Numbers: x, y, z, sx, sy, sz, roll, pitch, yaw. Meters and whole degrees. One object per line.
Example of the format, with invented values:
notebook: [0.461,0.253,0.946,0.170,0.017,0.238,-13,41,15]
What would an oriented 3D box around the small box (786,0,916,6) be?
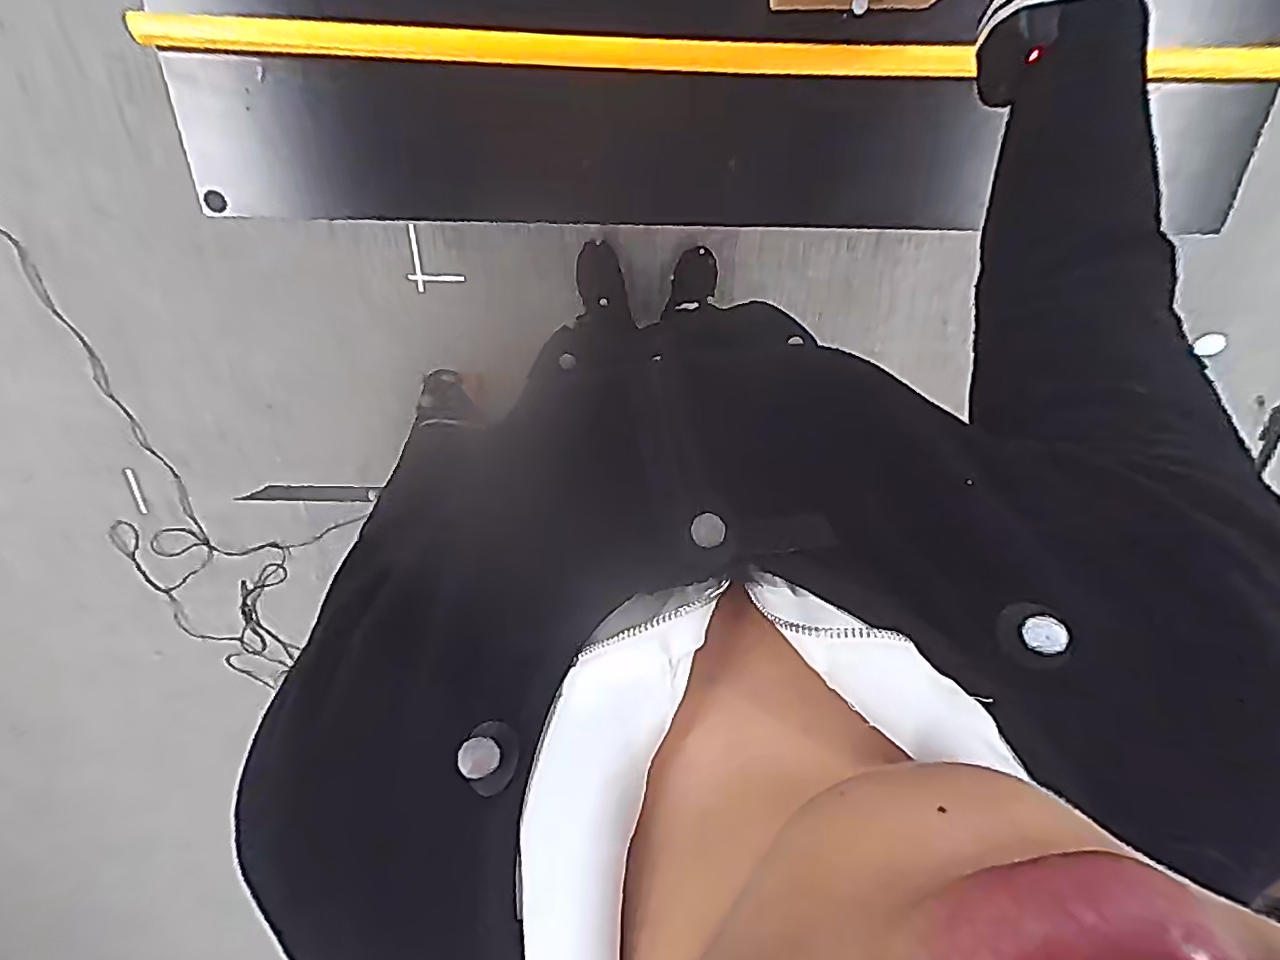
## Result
small box: [0.219,-0.540,0.452,0.168,0.176,0.179,-2,116,-2]
